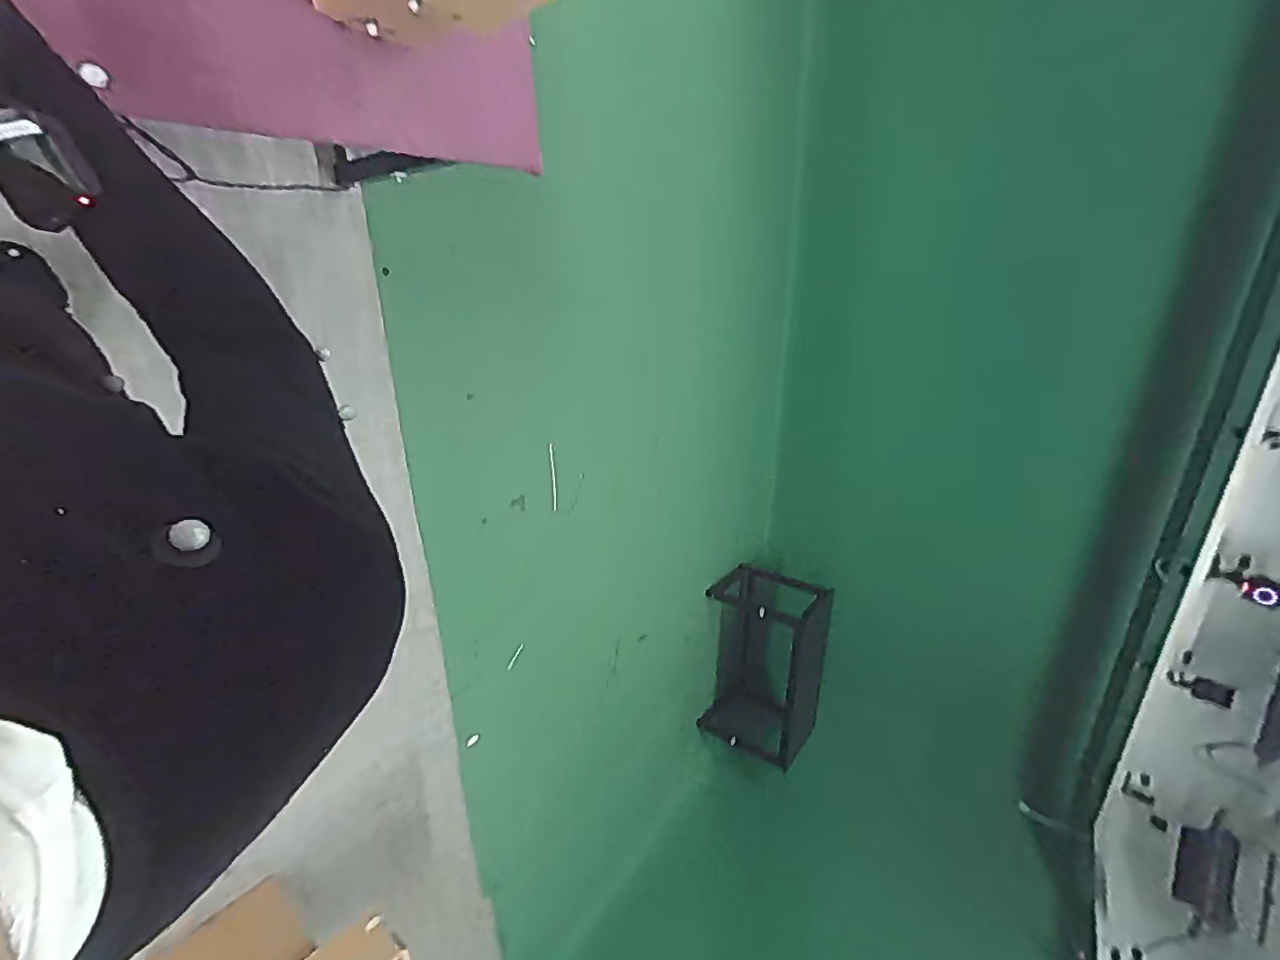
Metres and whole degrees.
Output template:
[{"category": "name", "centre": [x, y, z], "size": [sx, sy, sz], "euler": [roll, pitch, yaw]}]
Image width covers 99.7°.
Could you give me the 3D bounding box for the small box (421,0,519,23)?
[{"category": "small box", "centre": [-0.225, -0.702, 0.656], "size": [0.168, 0.176, 0.179], "euler": [-26, 121, -46]}]

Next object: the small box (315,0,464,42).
[{"category": "small box", "centre": [-0.354, -0.753, 0.745], "size": [0.168, 0.176, 0.179], "euler": [-23, 120, -48]}]
